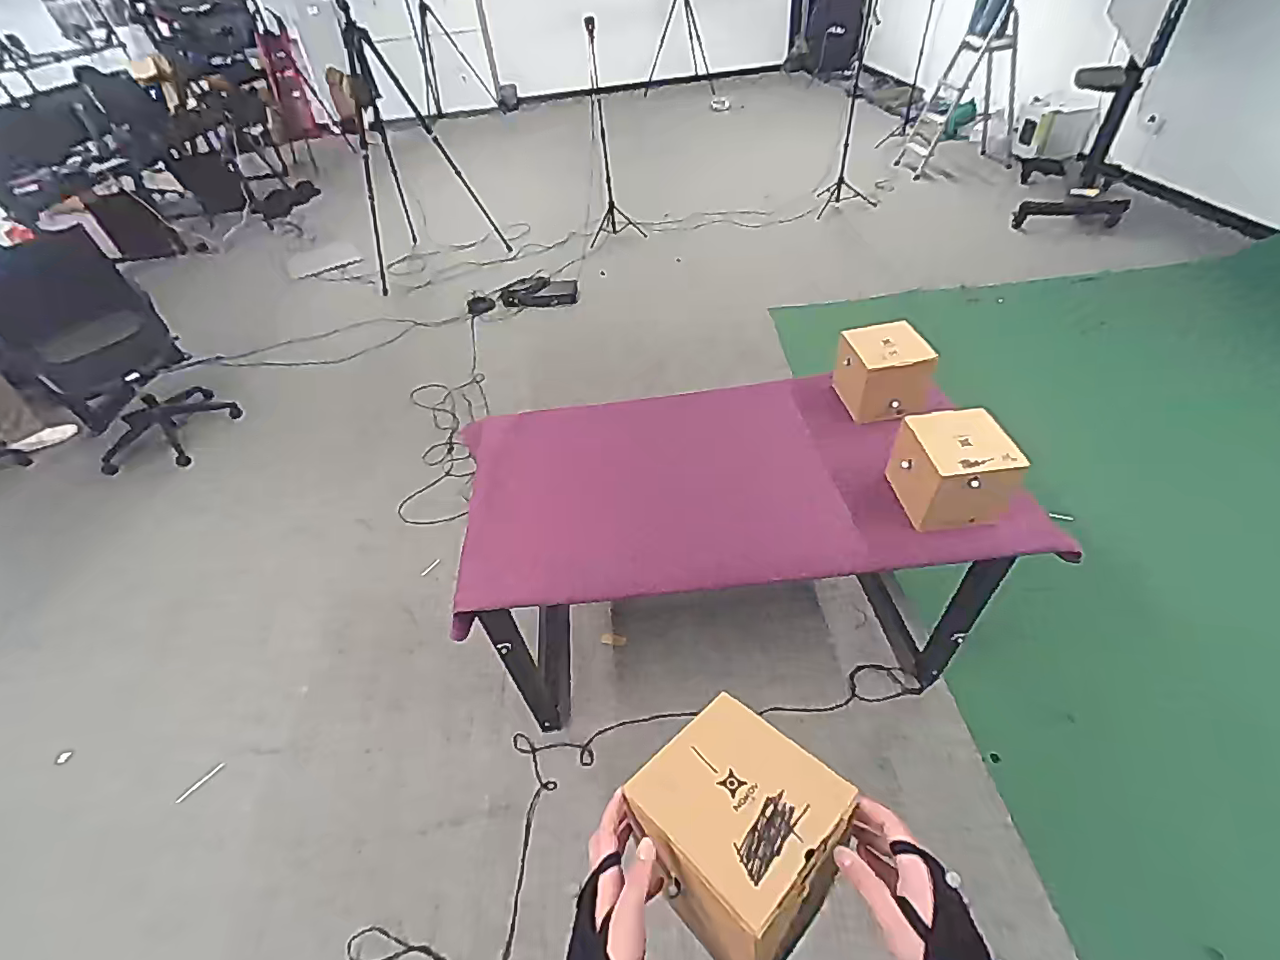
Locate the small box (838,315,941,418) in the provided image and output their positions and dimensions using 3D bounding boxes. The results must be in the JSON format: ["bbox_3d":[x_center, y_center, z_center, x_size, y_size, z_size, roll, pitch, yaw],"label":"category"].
[{"bbox_3d":[0.606,-0.281,1.341,0.168,0.176,0.179,-10,46,3],"label":"small box"}]

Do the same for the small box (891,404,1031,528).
[{"bbox_3d":[0.631,-0.028,1.092,0.168,0.176,0.179,-8,46,3],"label":"small box"}]
